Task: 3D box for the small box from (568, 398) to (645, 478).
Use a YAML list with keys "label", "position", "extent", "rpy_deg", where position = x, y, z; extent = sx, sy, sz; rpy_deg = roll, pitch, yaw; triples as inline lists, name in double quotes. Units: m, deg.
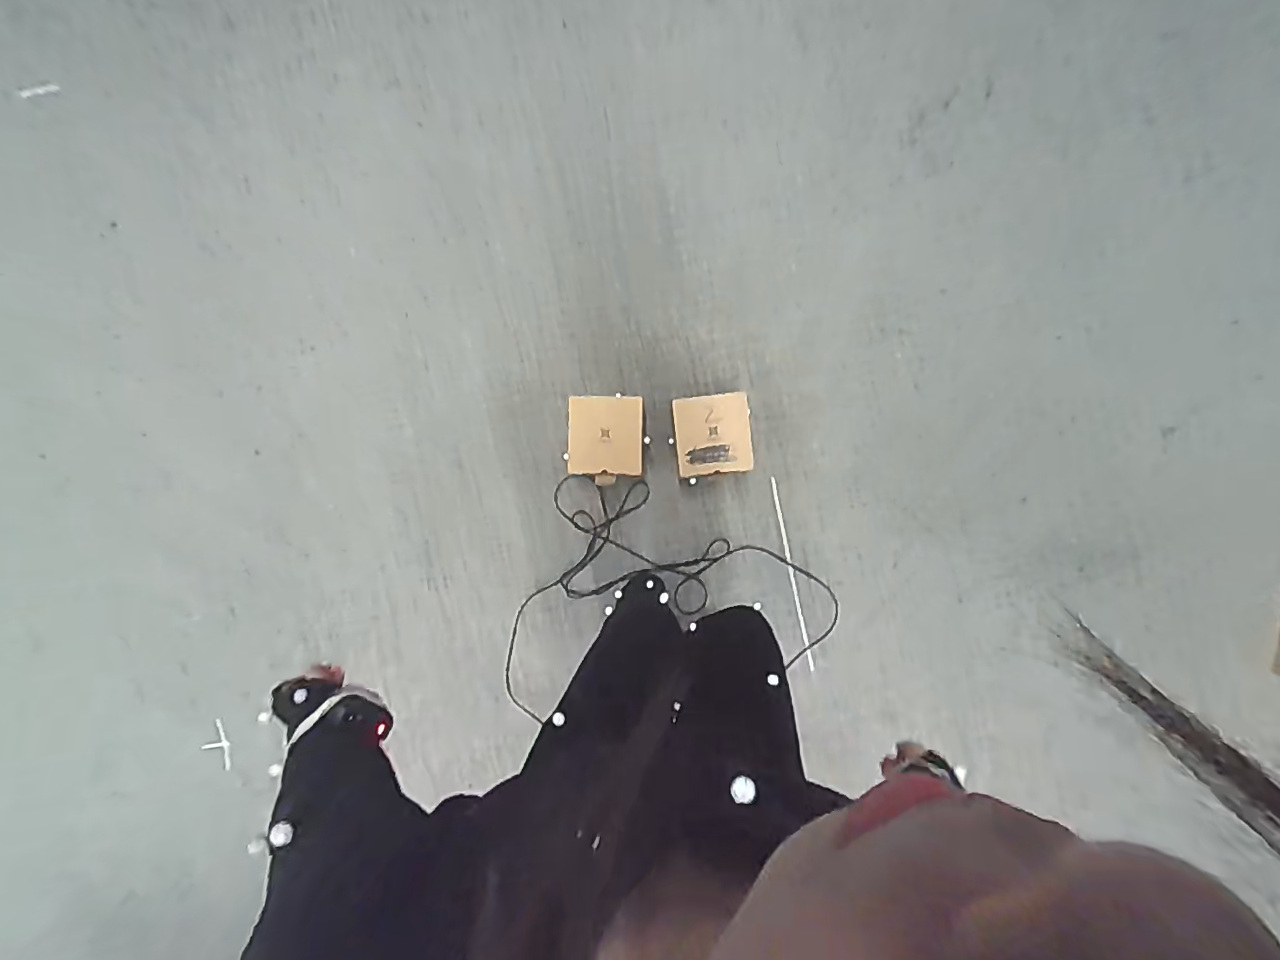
- label: "small box"
  position: [-0.075, -0.095, 1.281]
  extent: [0.168, 0.176, 0.179]
  rpy_deg: [1, 91, 2]
